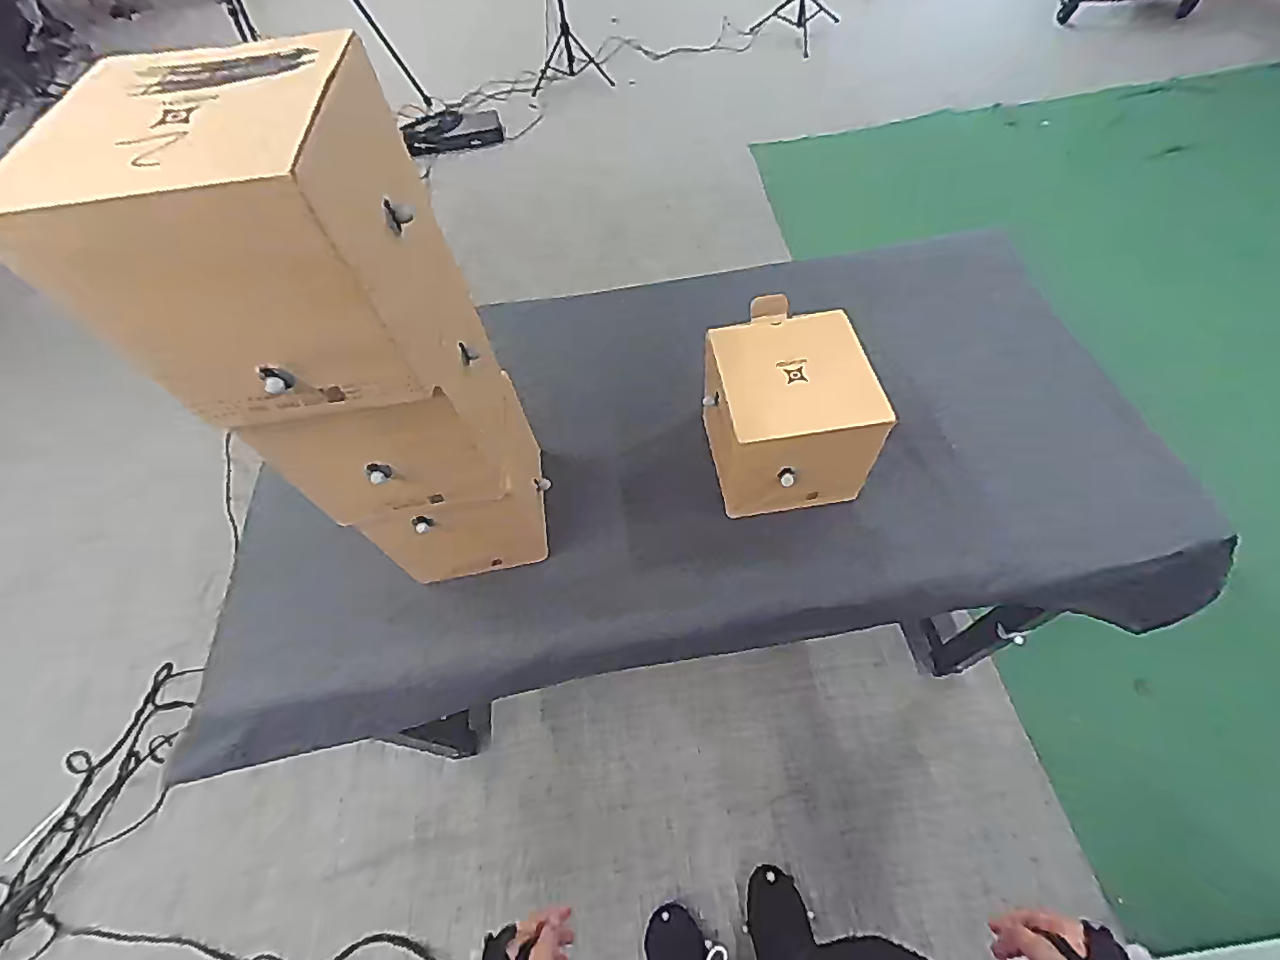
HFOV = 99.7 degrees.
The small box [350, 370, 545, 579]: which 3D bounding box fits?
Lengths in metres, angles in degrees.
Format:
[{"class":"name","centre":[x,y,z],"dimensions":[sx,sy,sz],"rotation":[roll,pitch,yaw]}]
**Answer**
[{"class":"small box","centre":[-0.216,-0.003,0.653],"dimensions":[0.168,0.176,0.179],"rotation":[-10,56,-2]}]

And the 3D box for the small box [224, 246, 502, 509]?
[{"class":"small box","centre":[-0.233,-0.085,0.510],"dimensions":[0.168,0.176,0.179],"rotation":[-9,57,-2]}]

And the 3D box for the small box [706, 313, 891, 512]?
[{"class":"small box","centre":[0.176,-0.073,0.665],"dimensions":[0.168,0.176,0.179],"rotation":[-8,57,0]}]
